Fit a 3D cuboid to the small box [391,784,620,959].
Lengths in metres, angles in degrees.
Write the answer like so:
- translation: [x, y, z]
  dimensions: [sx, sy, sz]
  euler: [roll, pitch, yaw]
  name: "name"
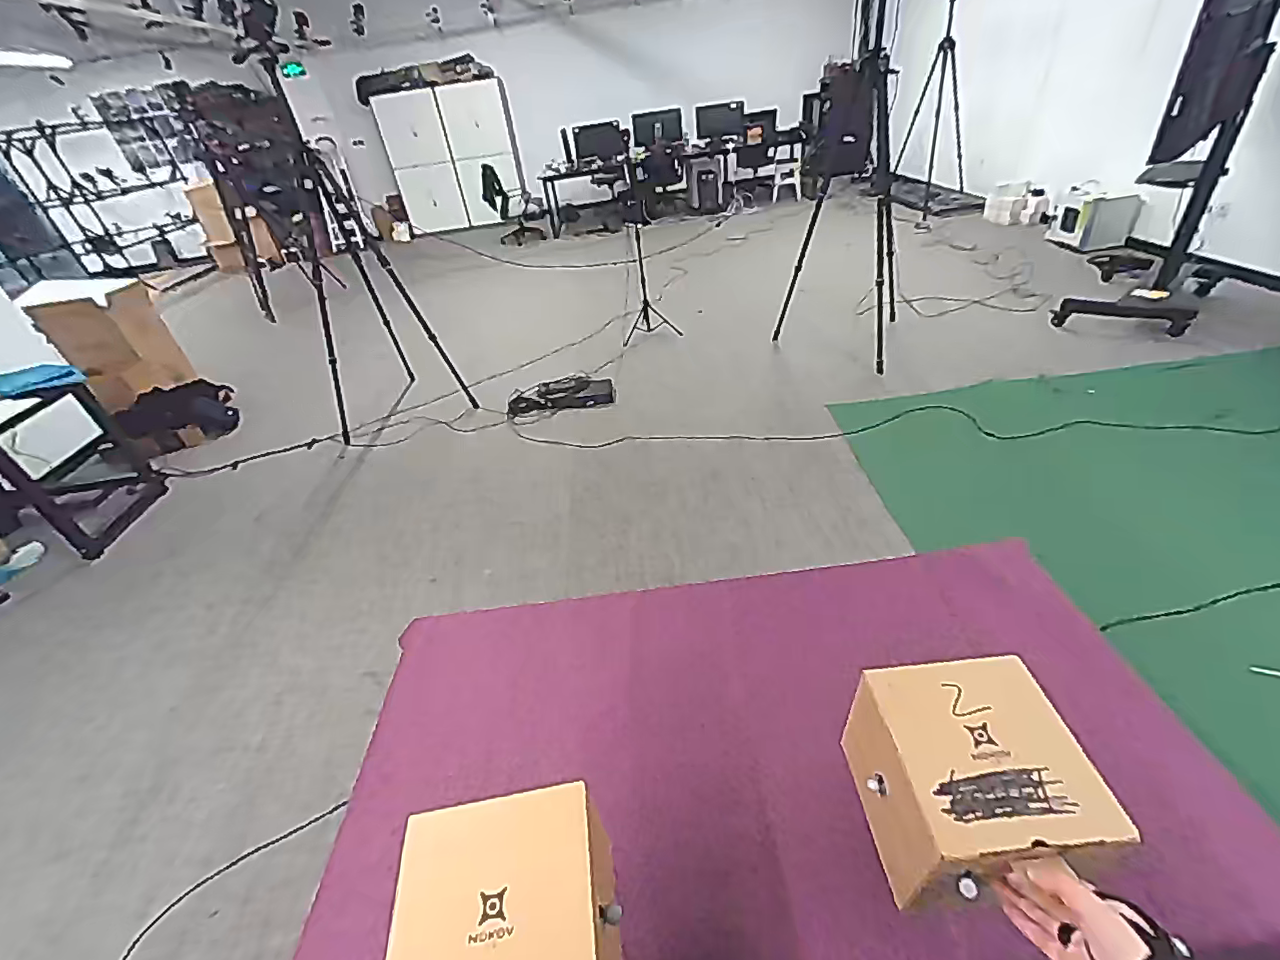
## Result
- translation: [-0.112, 0.418, 0.499]
  dimensions: [0.168, 0.176, 0.179]
  euler: [-10, 41, -3]
  name: "small box"
